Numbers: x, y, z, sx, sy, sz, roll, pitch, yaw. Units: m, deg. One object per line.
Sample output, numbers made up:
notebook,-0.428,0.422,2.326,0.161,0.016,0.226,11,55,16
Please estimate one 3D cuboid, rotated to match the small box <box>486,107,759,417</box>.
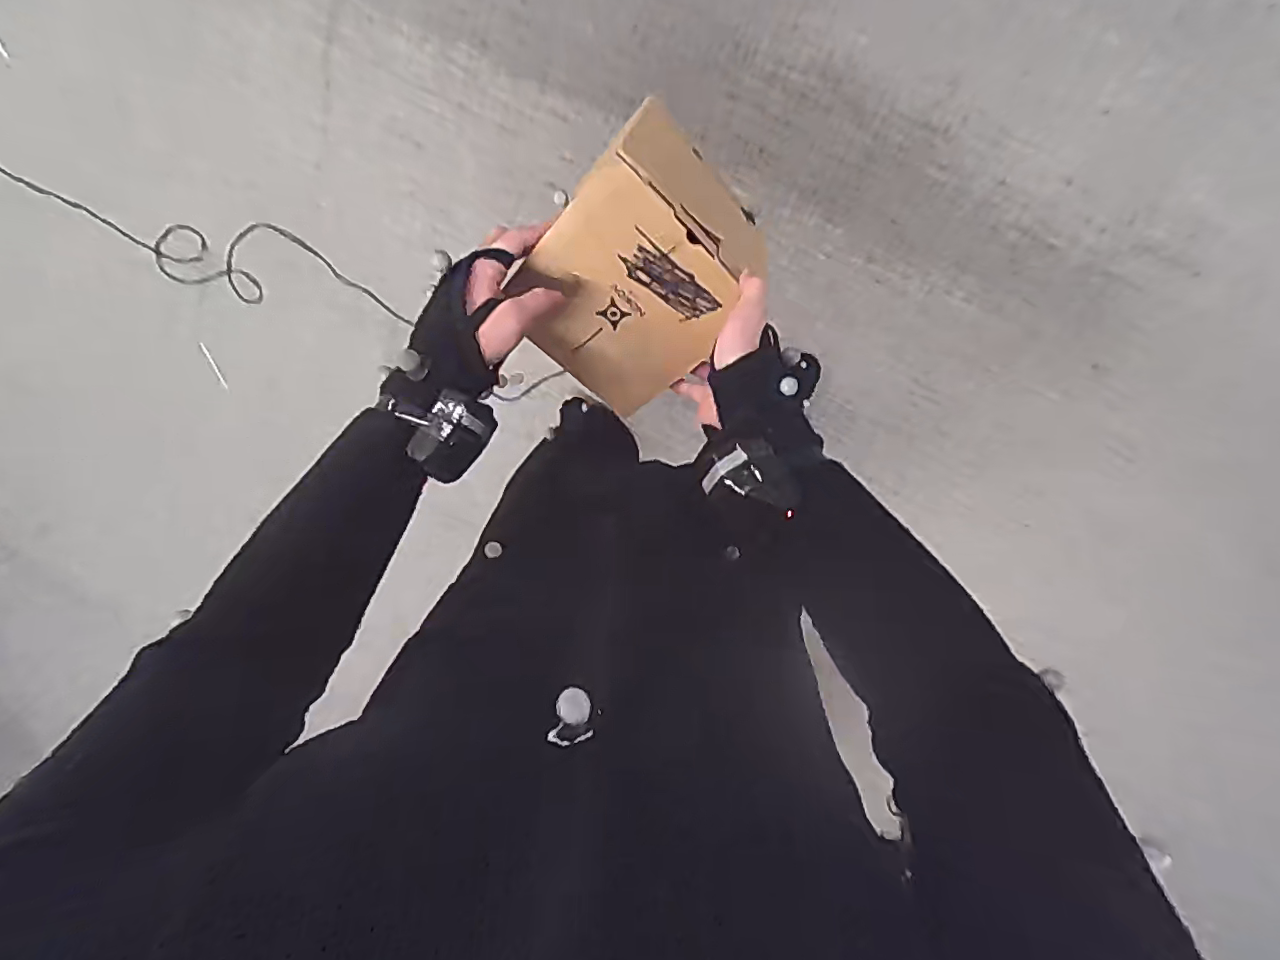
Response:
small box,-0.008,-0.200,0.504,0.168,0.176,0.179,37,132,-22
